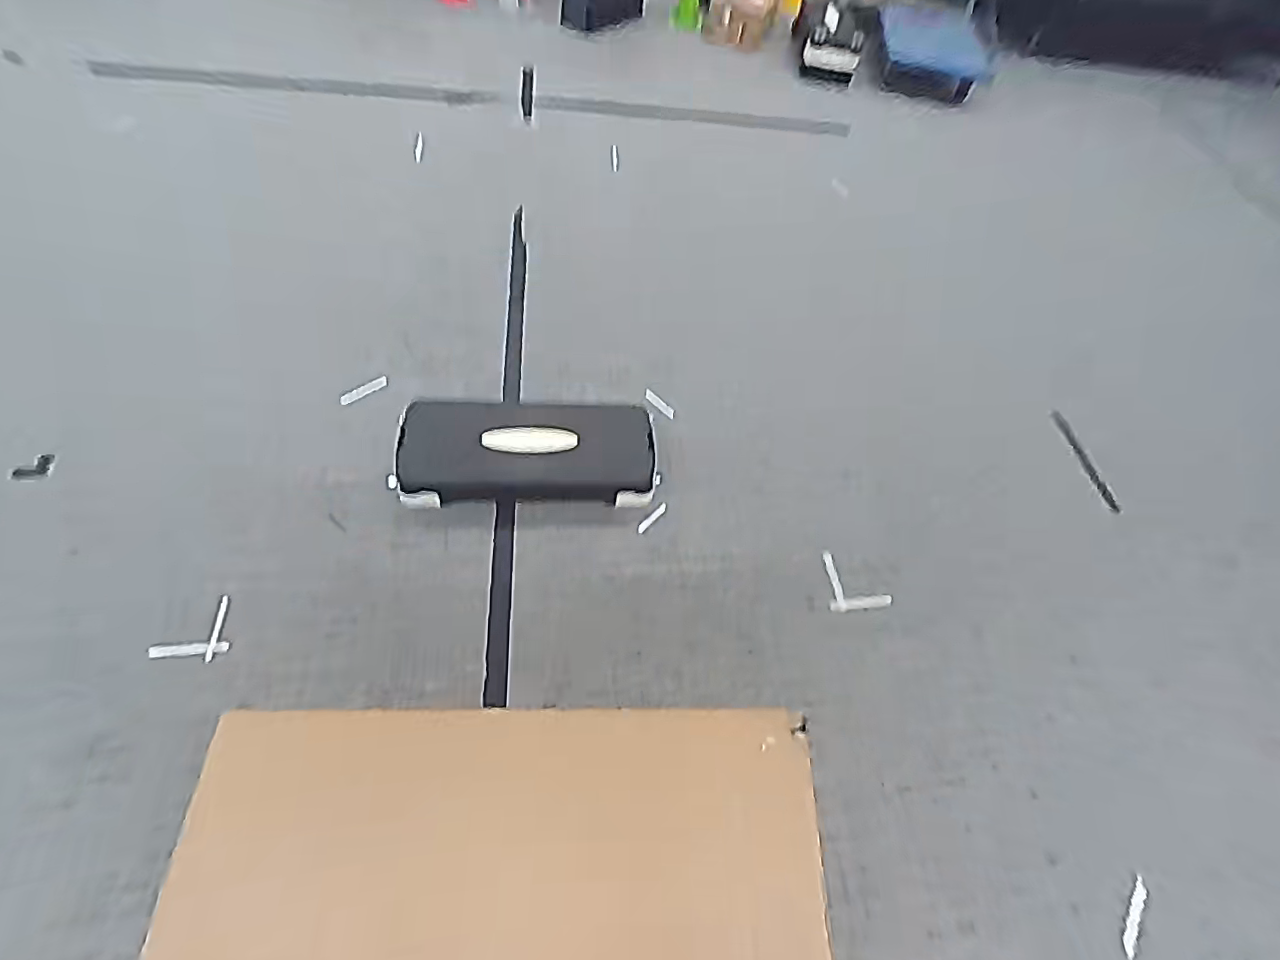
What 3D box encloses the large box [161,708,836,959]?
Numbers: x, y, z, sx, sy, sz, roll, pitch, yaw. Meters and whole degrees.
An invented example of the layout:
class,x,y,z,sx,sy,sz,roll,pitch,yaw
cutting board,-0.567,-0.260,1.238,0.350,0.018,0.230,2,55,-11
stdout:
class,x,y,z,sx,sy,sz,roll,pitch,yaw
large box,-0.085,0.367,0.440,0.408,0.320,0.320,0,64,-1
